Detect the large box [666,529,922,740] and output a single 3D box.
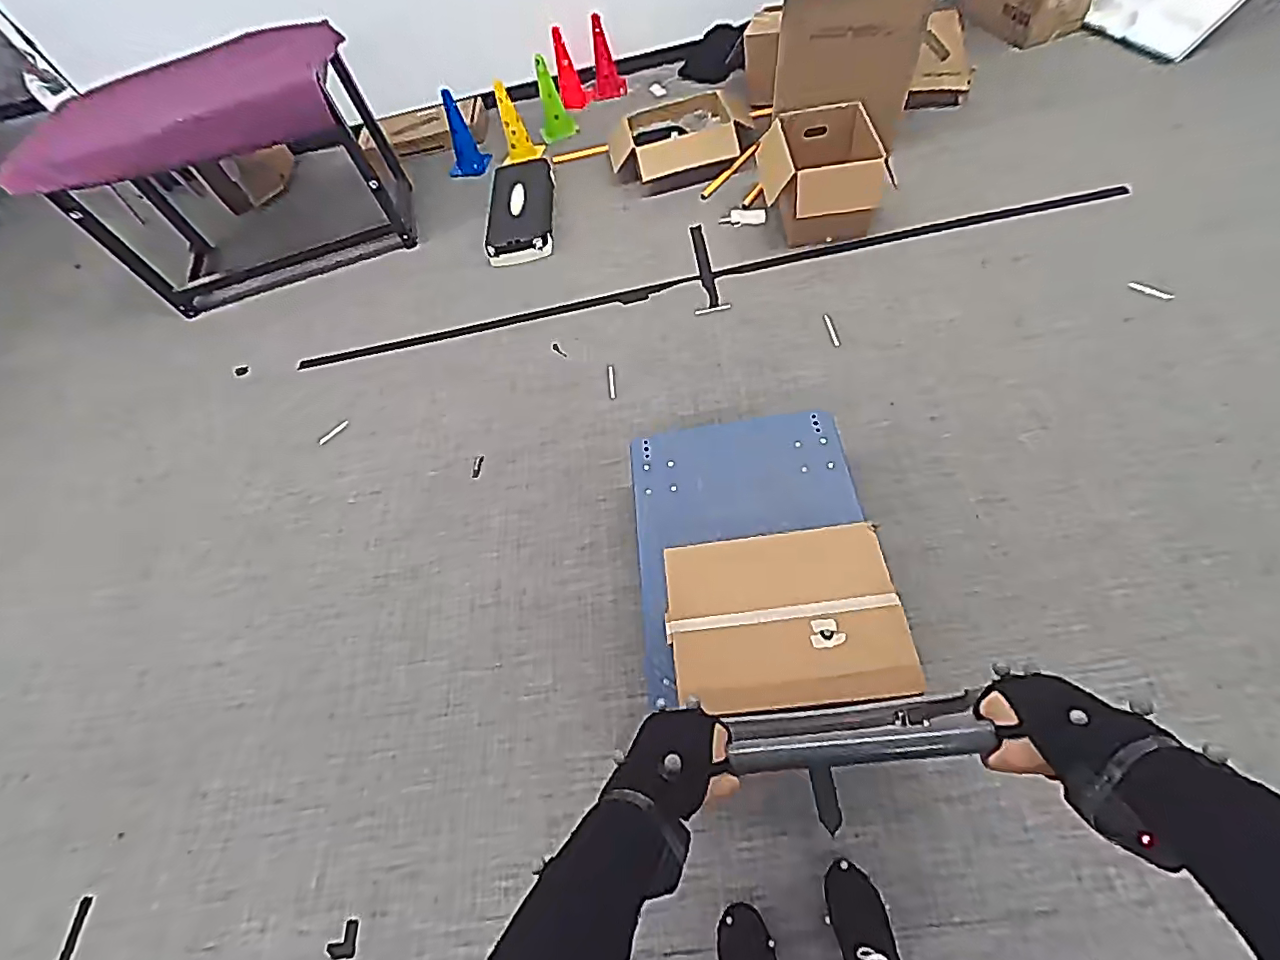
[{"bbox_3d":[0.280,0.330,1.111,0.408,0.320,0.320,-8,59,4],"label":"large box"}]
